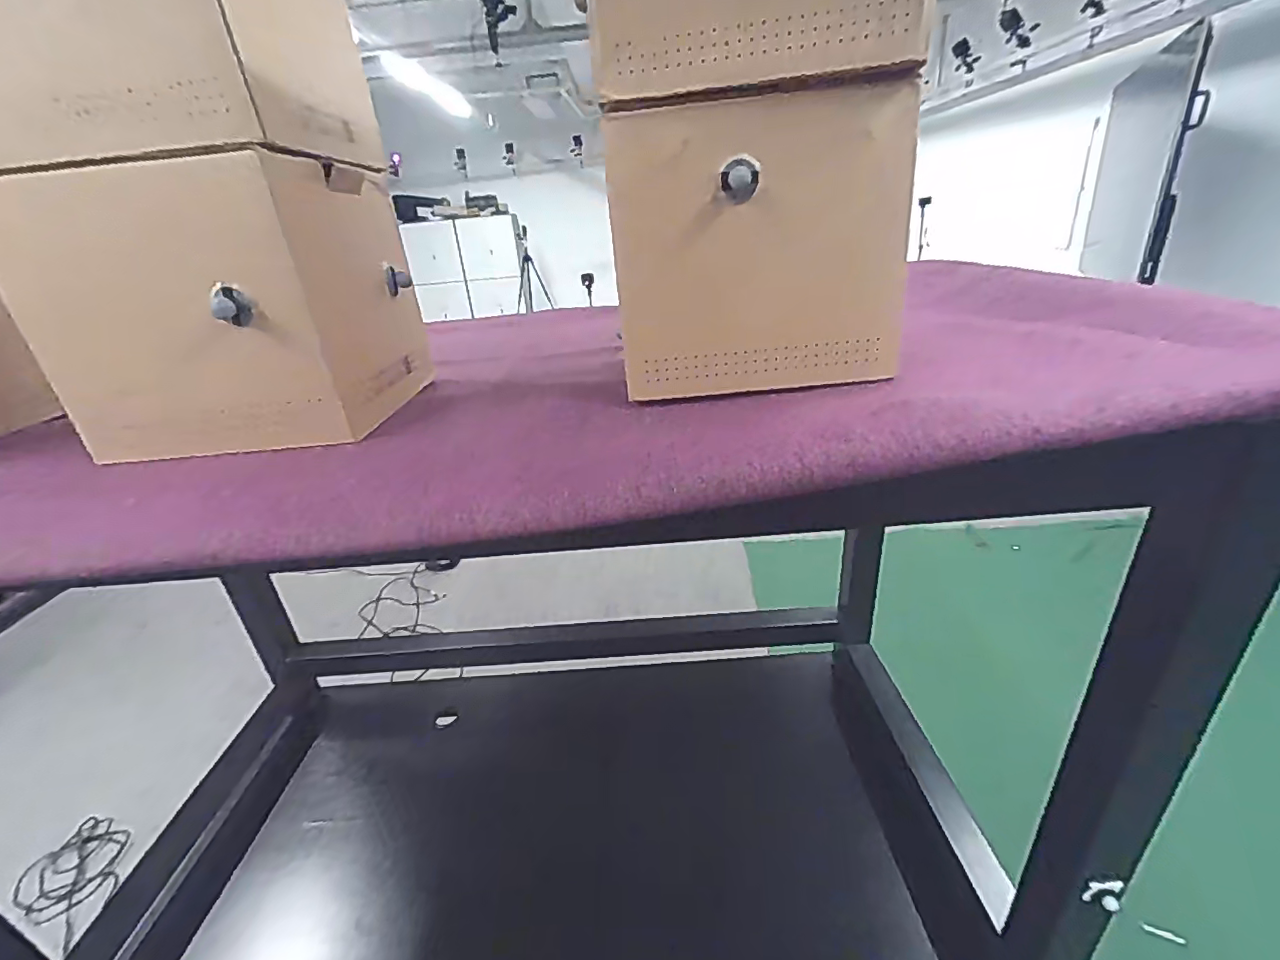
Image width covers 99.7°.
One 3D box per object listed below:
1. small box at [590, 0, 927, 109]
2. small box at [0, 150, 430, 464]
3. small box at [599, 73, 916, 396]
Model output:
[{"bbox_3d":[0.061,-0.311,0.325,0.179,0.176,0.168,-4,24,7],"label":"small box"},{"bbox_3d":[-0.273,-0.122,0.386,0.179,0.176,0.168,-6,25,1],"label":"small box"},{"bbox_3d":[0.073,-0.163,0.395,0.179,0.176,0.168,-4,24,3],"label":"small box"}]
